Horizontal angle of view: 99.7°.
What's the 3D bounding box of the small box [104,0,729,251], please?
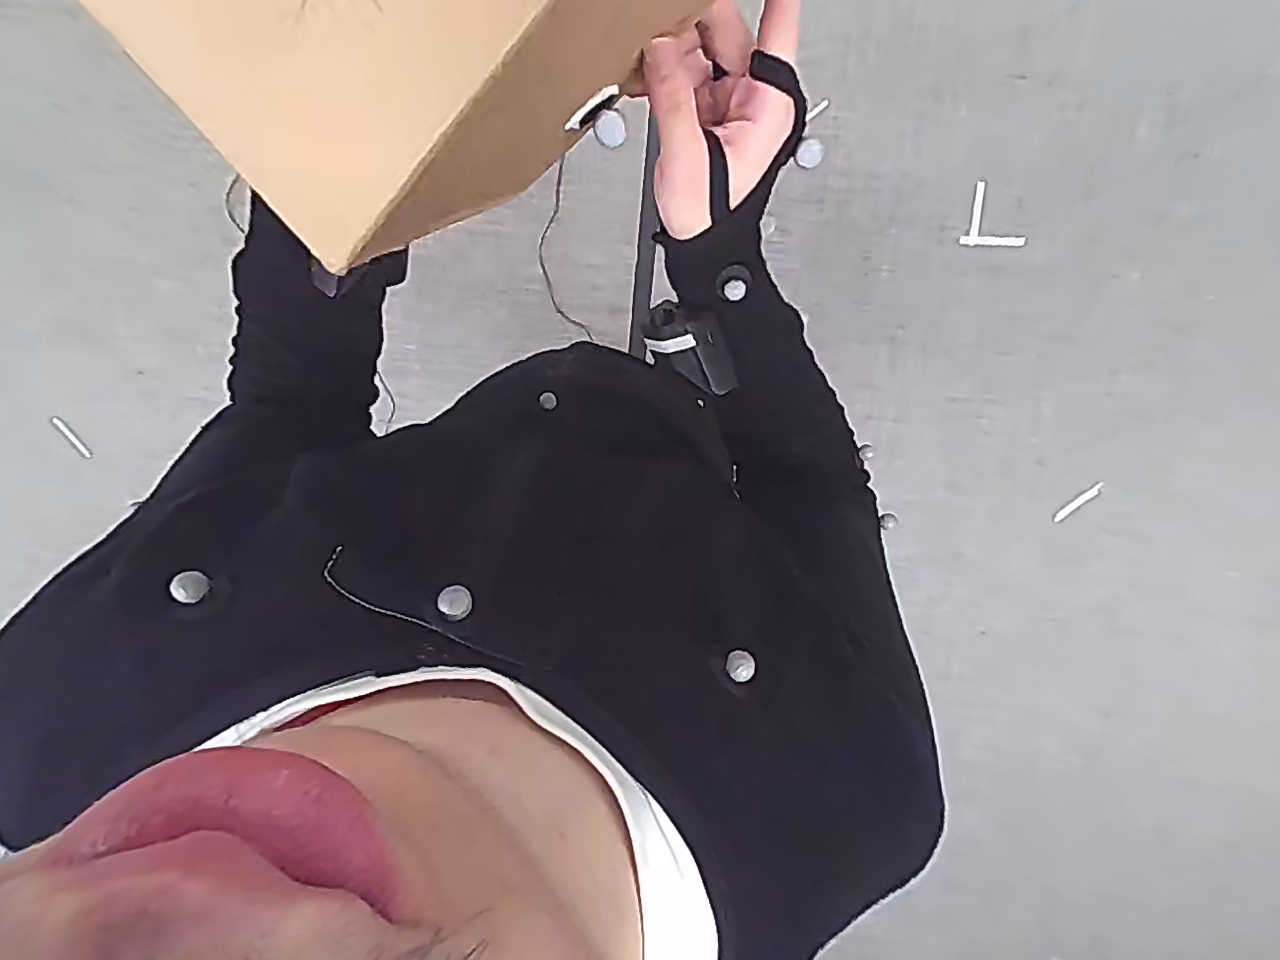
[{"bbox_3d":[-0.074,-0.218,0.186,0.168,0.176,0.179,-27,114,32],"label":"small box"}]
